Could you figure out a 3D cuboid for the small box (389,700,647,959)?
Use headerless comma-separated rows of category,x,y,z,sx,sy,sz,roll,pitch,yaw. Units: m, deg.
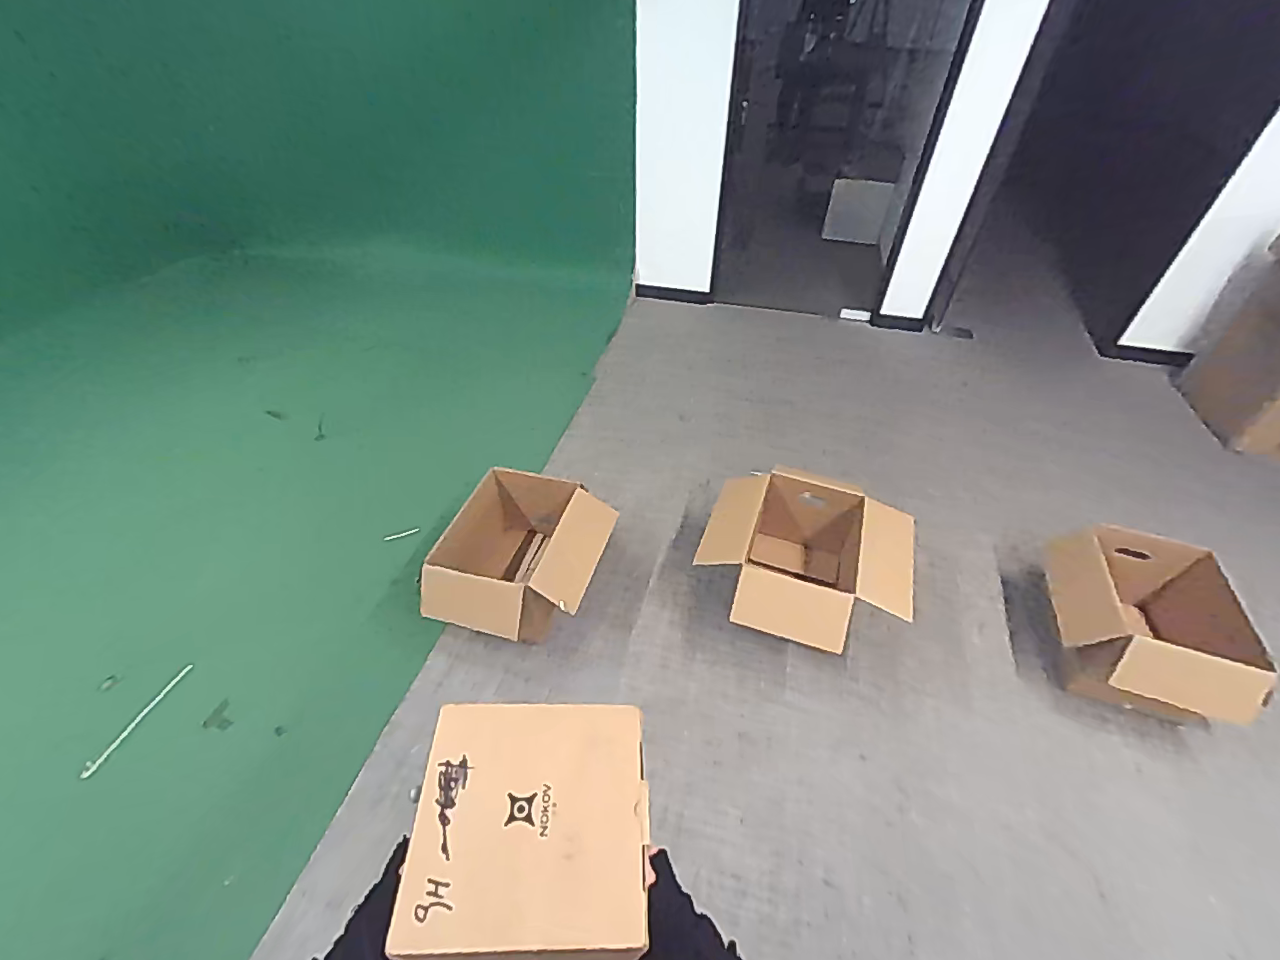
small box,-0.091,0.314,0.478,0.179,0.176,0.168,4,44,-5
